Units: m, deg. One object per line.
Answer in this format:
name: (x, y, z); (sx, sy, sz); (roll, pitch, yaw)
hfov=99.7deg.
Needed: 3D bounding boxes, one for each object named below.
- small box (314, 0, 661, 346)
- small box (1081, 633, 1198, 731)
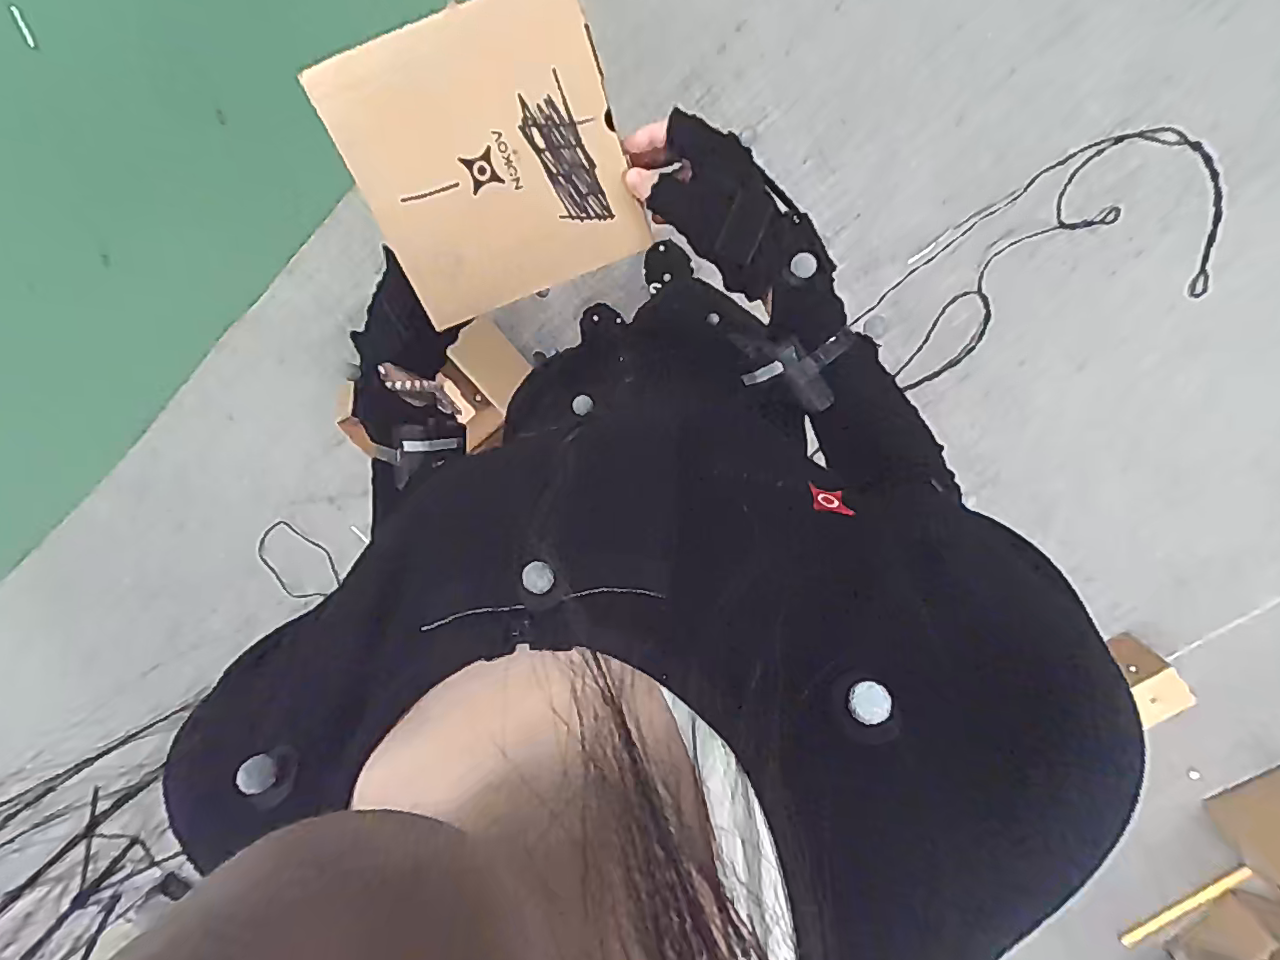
small box: (-0.101, -0.231, 0.426); (0.179, 0.176, 0.168); (-21, 119, 3)
small box: (1.480, 0.600, 1.620); (0.179, 0.176, 0.168); (-40, 104, 14)
